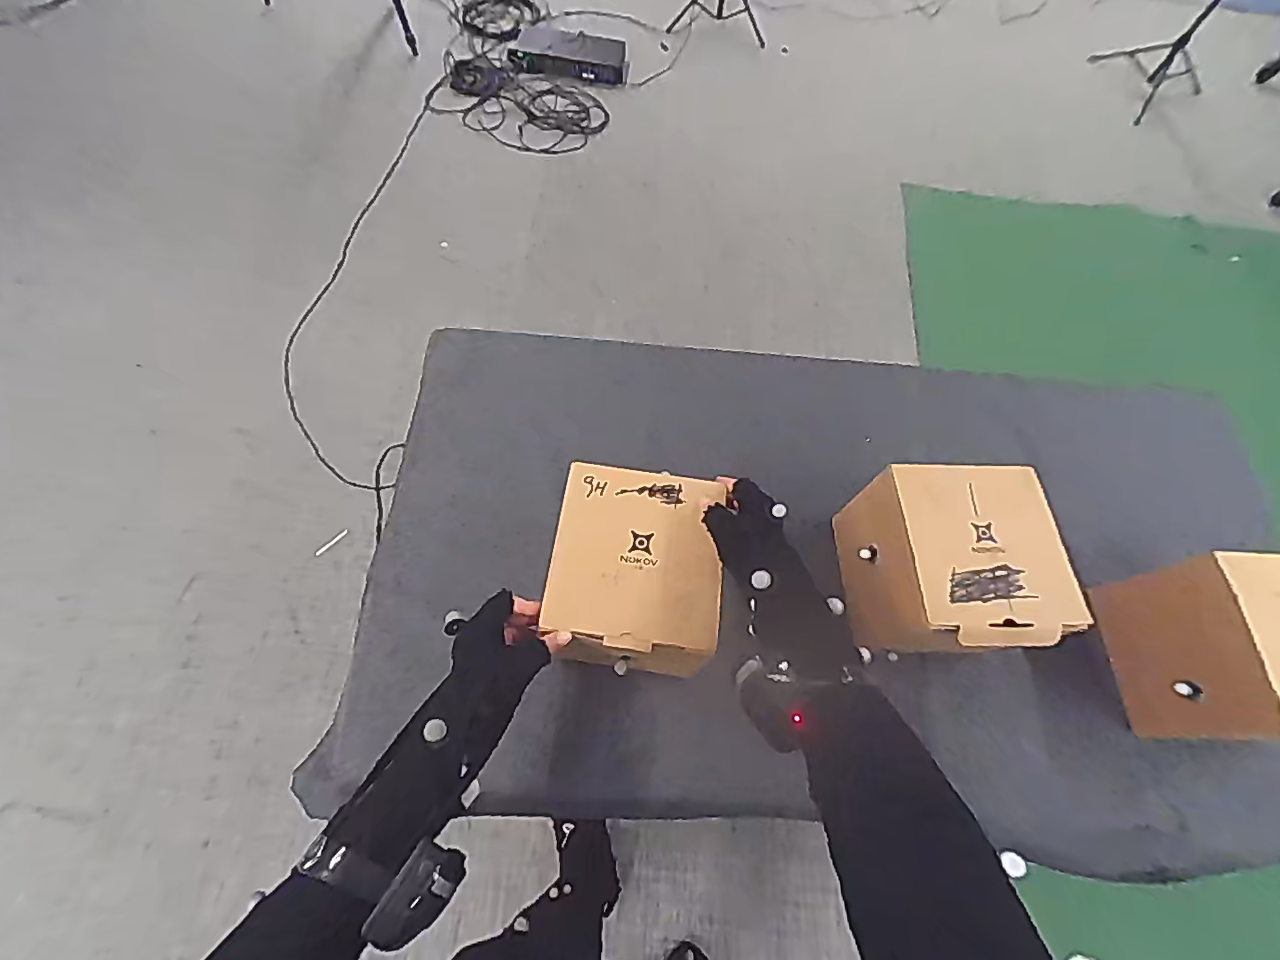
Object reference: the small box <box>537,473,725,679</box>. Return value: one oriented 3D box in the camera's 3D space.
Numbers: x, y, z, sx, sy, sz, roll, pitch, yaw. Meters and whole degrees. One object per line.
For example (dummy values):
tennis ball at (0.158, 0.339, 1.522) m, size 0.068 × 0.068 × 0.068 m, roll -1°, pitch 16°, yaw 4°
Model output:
small box at (-0.007, 0.115, 0.596) m, size 0.168 × 0.176 × 0.179 m, roll 8°, pitch 64°, yaw 0°

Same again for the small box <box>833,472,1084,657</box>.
small box at (0.343, 0.105, 0.624) m, size 0.168 × 0.176 × 0.179 m, roll 1°, pitch 63°, yaw -4°

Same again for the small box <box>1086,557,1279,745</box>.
small box at (0.663, 0.197, 0.603) m, size 0.168 × 0.176 × 0.179 m, roll 3°, pitch 63°, yaw -4°
